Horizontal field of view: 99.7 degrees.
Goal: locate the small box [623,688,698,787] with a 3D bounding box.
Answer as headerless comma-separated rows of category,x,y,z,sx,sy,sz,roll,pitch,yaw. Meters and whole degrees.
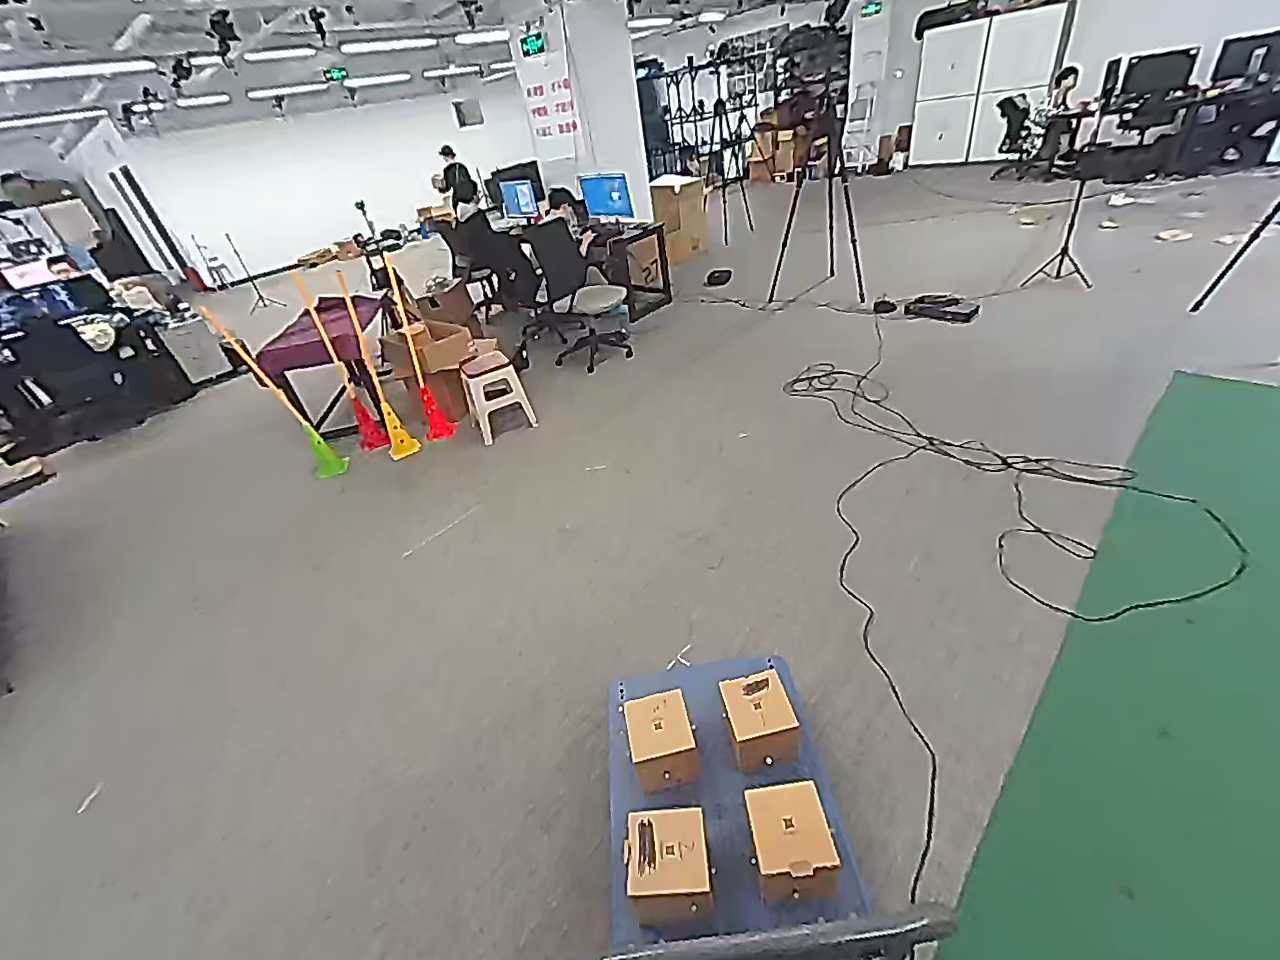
small box,0.057,0.705,1.470,0.168,0.176,0.179,-12,35,-3

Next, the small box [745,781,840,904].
small box,0.339,0.825,1.233,0.168,0.176,0.179,-9,35,1

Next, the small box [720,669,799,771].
small box,0.322,0.654,1.474,0.168,0.176,0.179,-13,36,-2
